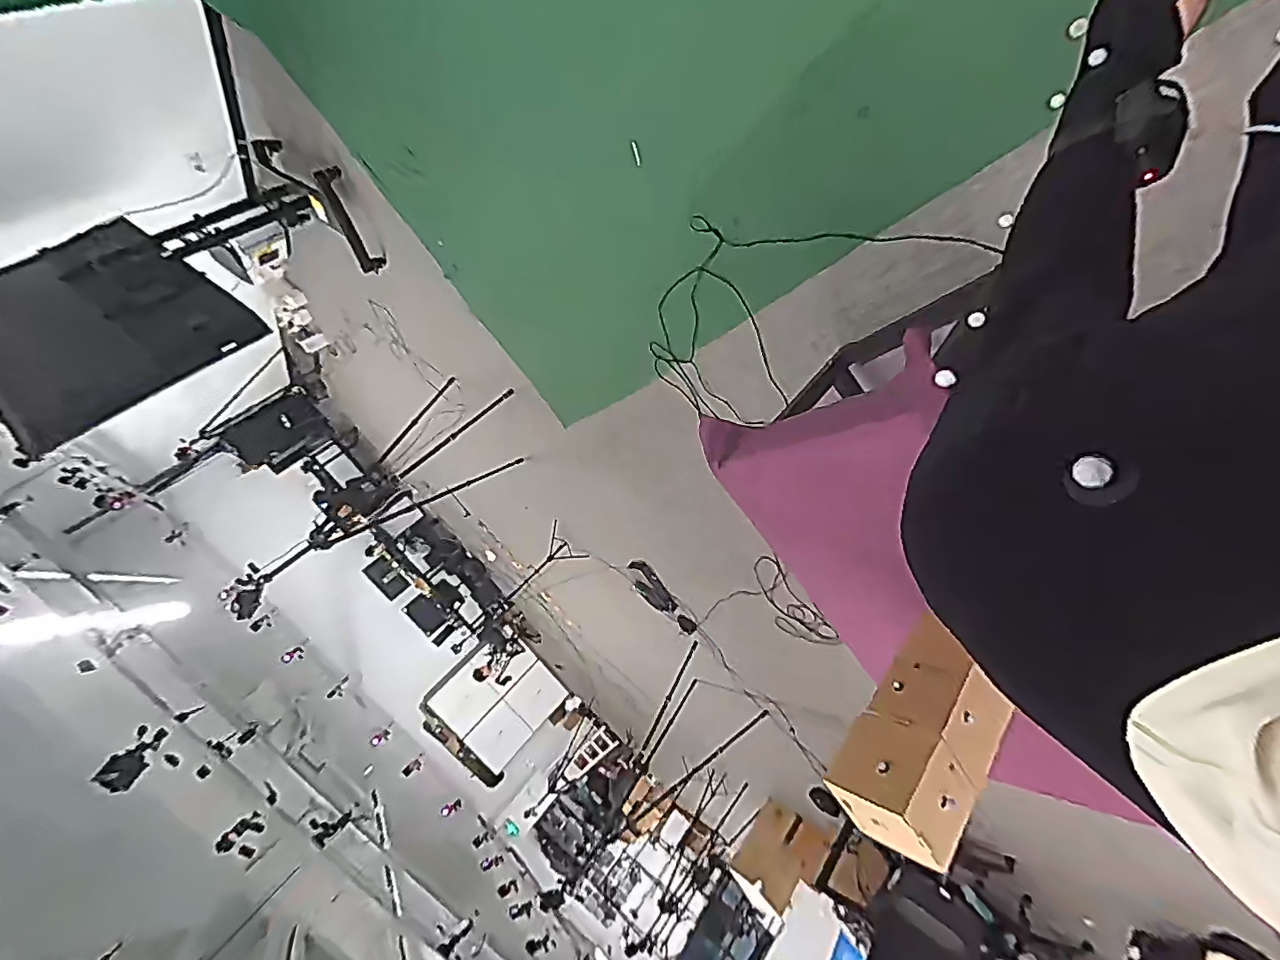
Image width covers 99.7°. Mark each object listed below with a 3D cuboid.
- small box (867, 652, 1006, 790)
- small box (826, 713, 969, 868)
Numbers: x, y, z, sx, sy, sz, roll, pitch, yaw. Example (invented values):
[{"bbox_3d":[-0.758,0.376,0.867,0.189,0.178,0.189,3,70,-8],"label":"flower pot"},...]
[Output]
[{"bbox_3d":[0.610,0.482,1.111,0.179,0.176,0.168,54,151,-14],"label":"small box"},{"bbox_3d":[0.501,0.581,1.041,0.168,0.176,0.179,55,151,-14],"label":"small box"}]
